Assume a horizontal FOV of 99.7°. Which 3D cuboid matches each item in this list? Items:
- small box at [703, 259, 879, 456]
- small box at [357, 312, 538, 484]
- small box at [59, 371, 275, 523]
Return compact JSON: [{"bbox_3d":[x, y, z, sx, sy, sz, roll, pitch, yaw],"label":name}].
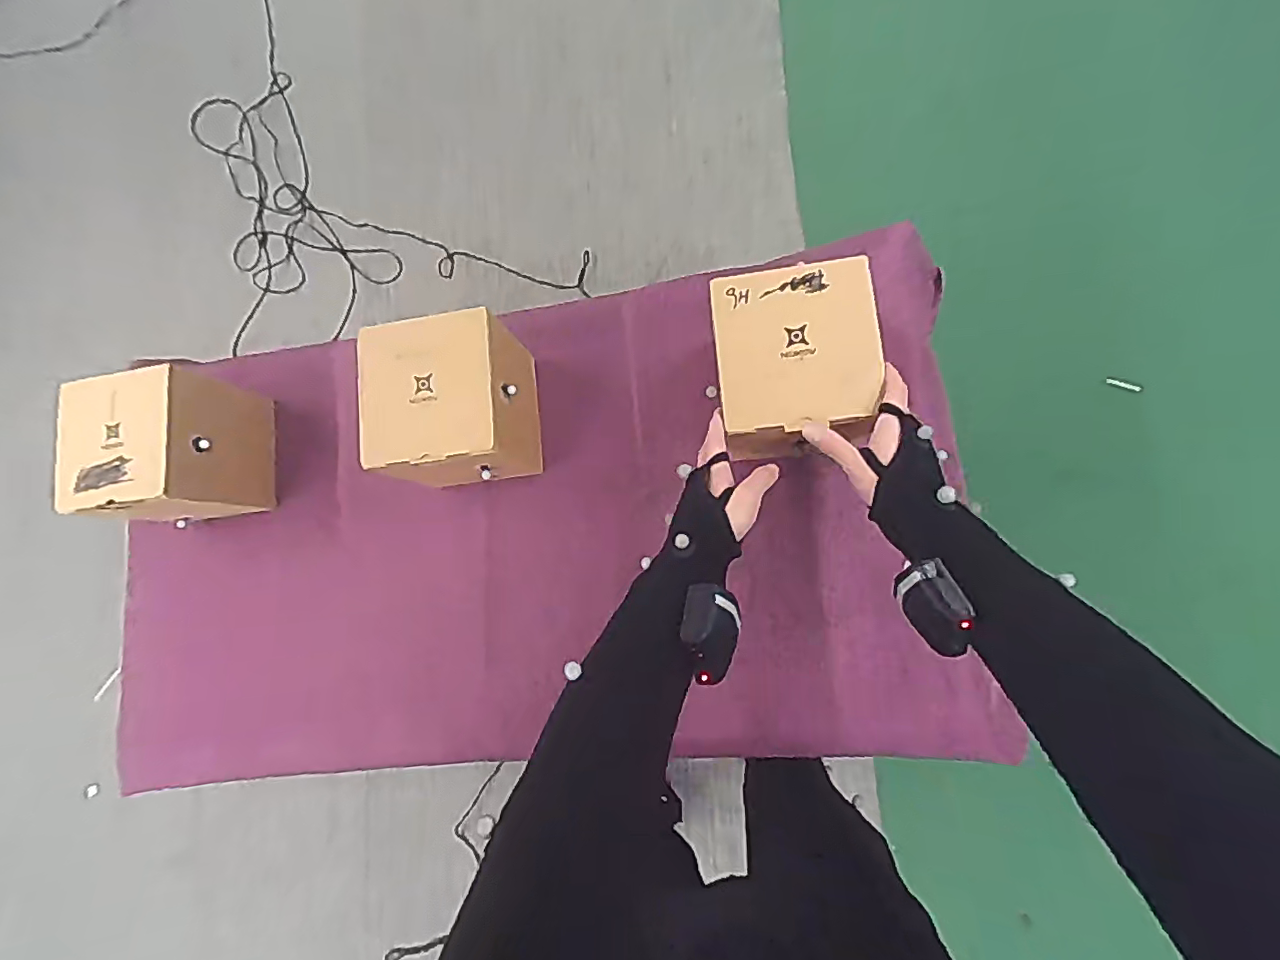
[{"bbox_3d":[0.169,-0.127,0.639,0.168,0.176,0.179,-6,82,9],"label":"small box"},{"bbox_3d":[-0.240,-0.092,0.706,0.168,0.176,0.179,-7,81,8],"label":"small box"},{"bbox_3d":[-0.655,-0.034,0.768,0.168,0.176,0.179,-8,80,8],"label":"small box"}]
